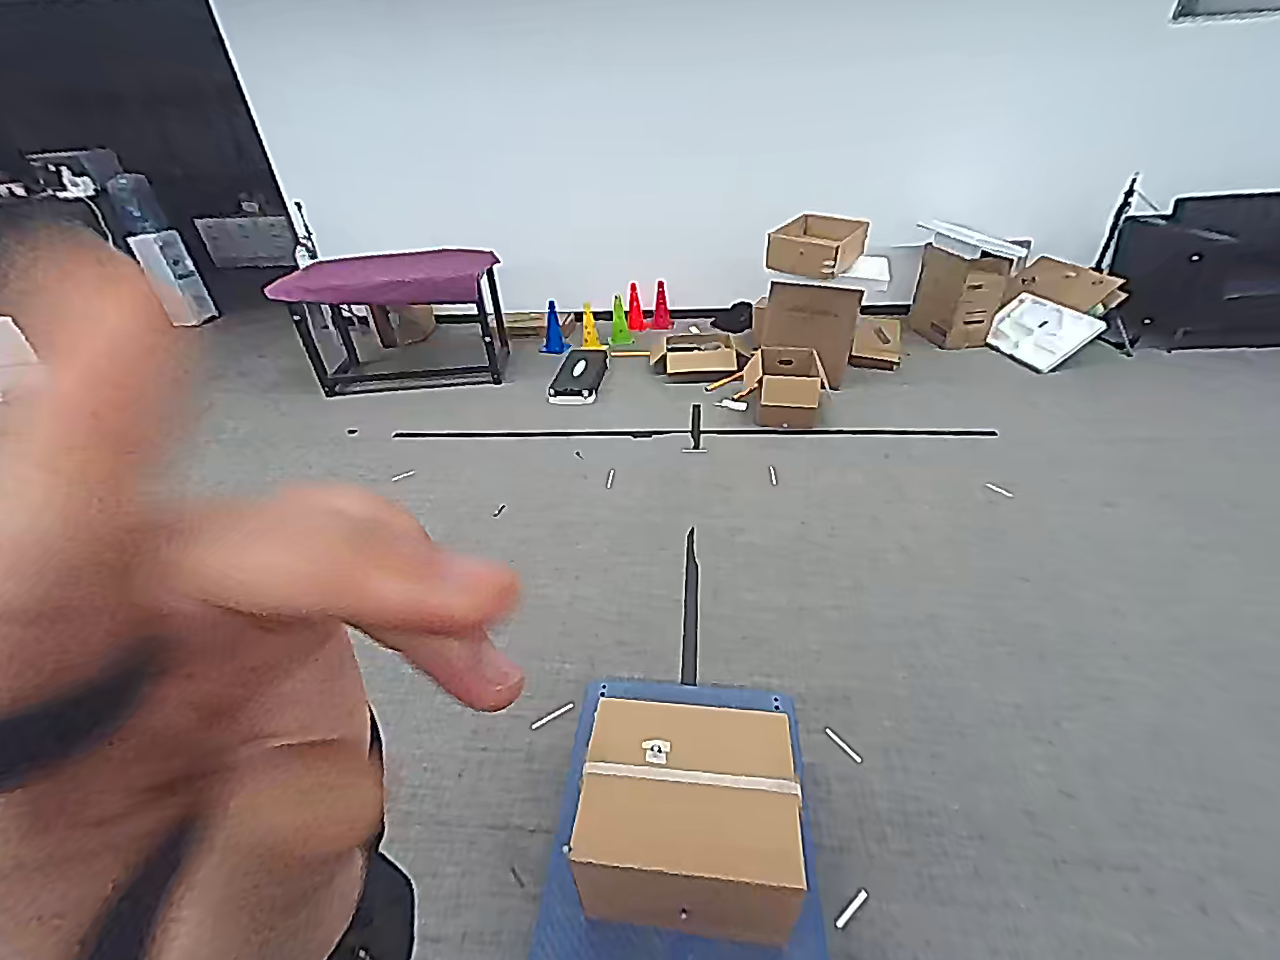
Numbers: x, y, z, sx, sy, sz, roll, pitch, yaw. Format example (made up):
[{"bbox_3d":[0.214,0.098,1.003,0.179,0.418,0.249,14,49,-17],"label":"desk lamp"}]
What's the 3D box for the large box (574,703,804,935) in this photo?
[{"bbox_3d":[0.105,0.703,1.136,0.408,0.320,0.320,1,35,7],"label":"large box"}]
